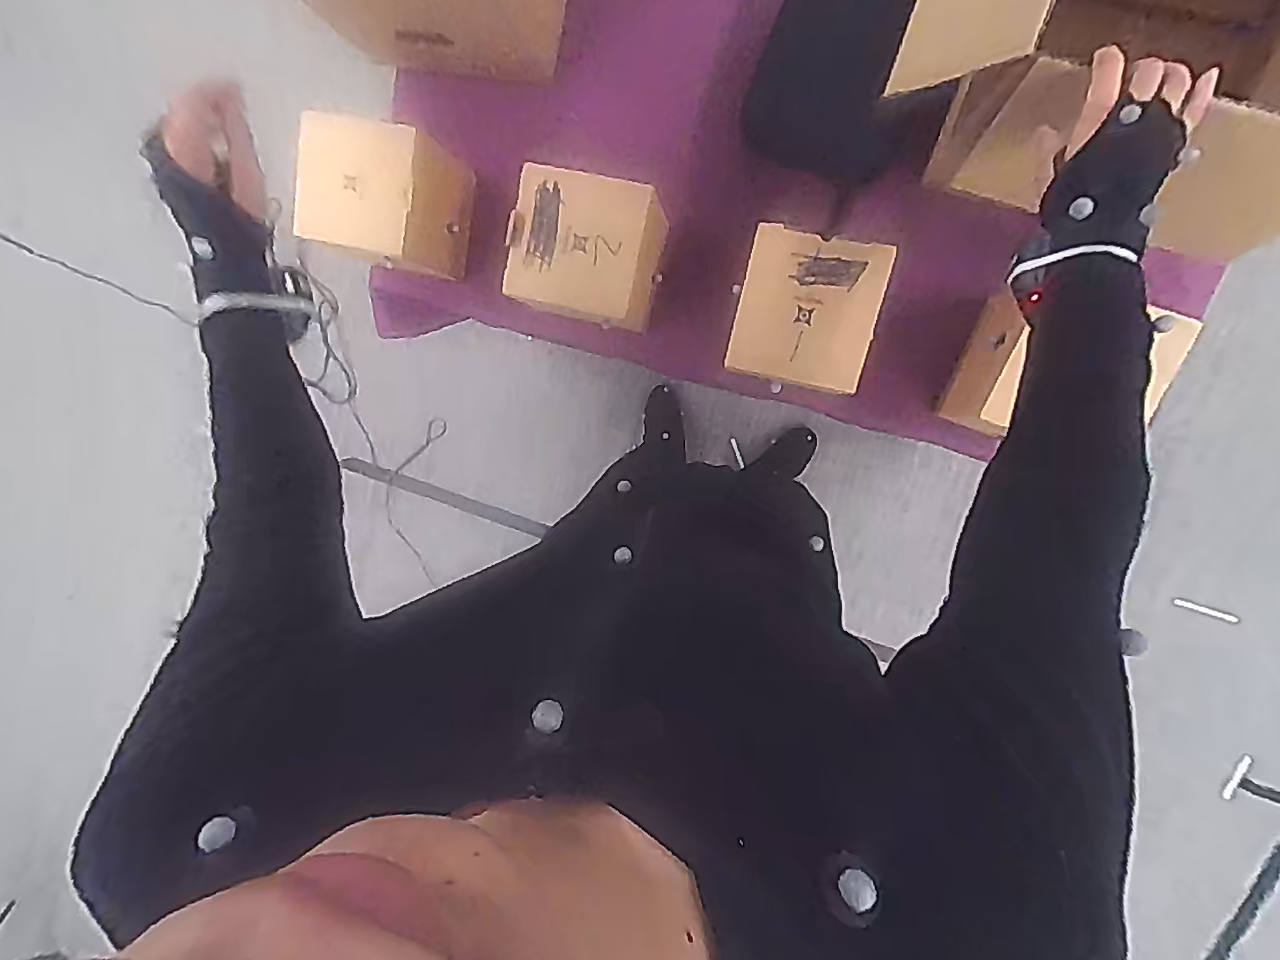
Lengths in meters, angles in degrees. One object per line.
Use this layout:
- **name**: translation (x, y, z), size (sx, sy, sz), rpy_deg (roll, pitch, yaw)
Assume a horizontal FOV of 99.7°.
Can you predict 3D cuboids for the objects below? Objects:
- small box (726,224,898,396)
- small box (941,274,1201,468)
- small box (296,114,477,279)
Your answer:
- **small box**: translation (0.219, -0.219, 0.732), size (0.168, 0.176, 0.179), rpy_deg (15, 103, 9)
- **small box**: translation (0.518, -0.134, 0.687), size (0.168, 0.176, 0.179), rpy_deg (22, 102, 8)
- **small box**: translation (-0.373, -0.413, 0.815), size (0.179, 0.176, 0.168), rpy_deg (13, 101, 7)
